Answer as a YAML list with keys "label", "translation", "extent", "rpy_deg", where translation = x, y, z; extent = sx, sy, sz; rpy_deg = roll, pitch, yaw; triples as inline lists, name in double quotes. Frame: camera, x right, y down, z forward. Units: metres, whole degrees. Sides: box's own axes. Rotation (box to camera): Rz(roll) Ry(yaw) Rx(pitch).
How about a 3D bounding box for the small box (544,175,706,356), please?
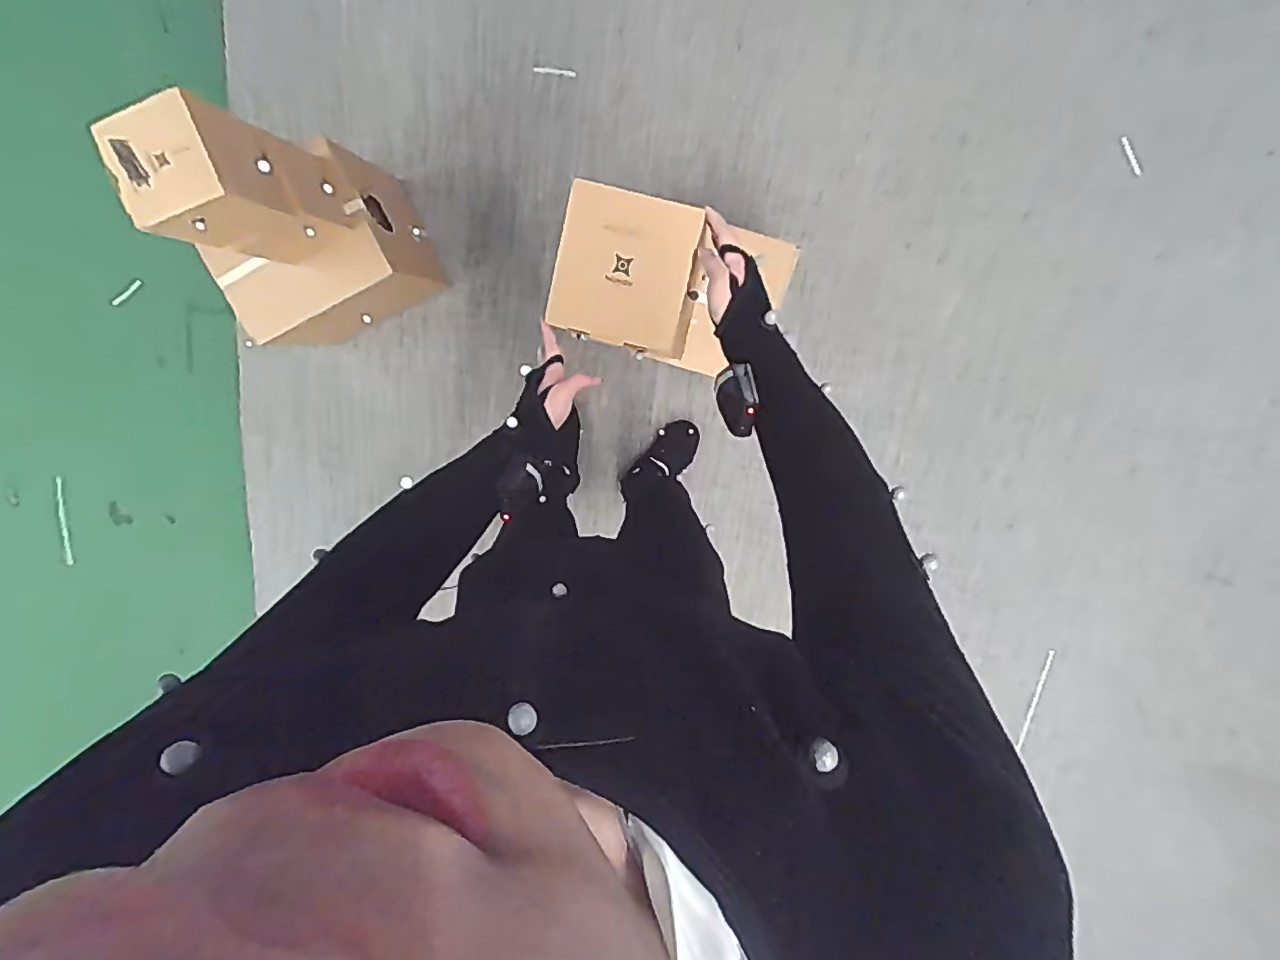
- label: "small box"
  translation: [-0.012, -0.273, 0.730]
  extent: [0.168, 0.176, 0.179]
  rpy_deg: [16, 103, 2]

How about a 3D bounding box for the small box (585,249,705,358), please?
- label: "small box"
  translation: [0.012, -0.317, 0.934]
  extent: [0.168, 0.176, 0.179]
  rpy_deg: [14, 104, 2]

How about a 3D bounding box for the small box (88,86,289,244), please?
- label: "small box"
  translation: [-0.770, -0.531, 0.941]
  extent: [0.179, 0.176, 0.168]
  rpy_deg: [-17, 102, 8]

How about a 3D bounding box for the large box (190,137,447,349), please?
- label: "large box"
  translation: [-0.781, -0.561, 1.359]
  extent: [0.408, 0.320, 0.320]
  rpy_deg: [-23, 100, 11]
